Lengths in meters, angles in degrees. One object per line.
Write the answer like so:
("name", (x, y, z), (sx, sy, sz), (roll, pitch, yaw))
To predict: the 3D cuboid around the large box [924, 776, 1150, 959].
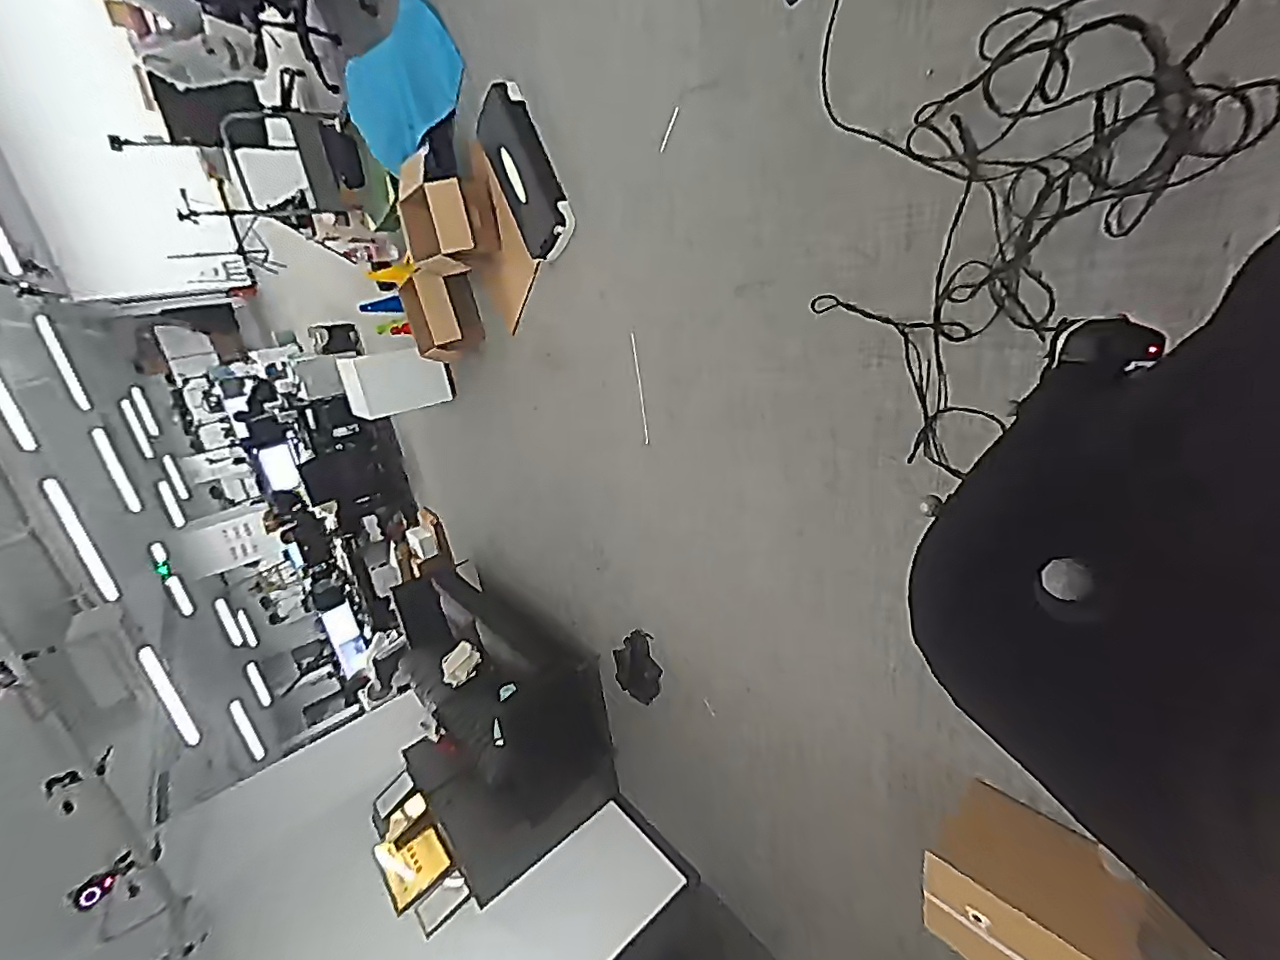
("large box", (1.029, 1.095, 1.425), (0.408, 0.320, 0.320), (16, 121, 51))
